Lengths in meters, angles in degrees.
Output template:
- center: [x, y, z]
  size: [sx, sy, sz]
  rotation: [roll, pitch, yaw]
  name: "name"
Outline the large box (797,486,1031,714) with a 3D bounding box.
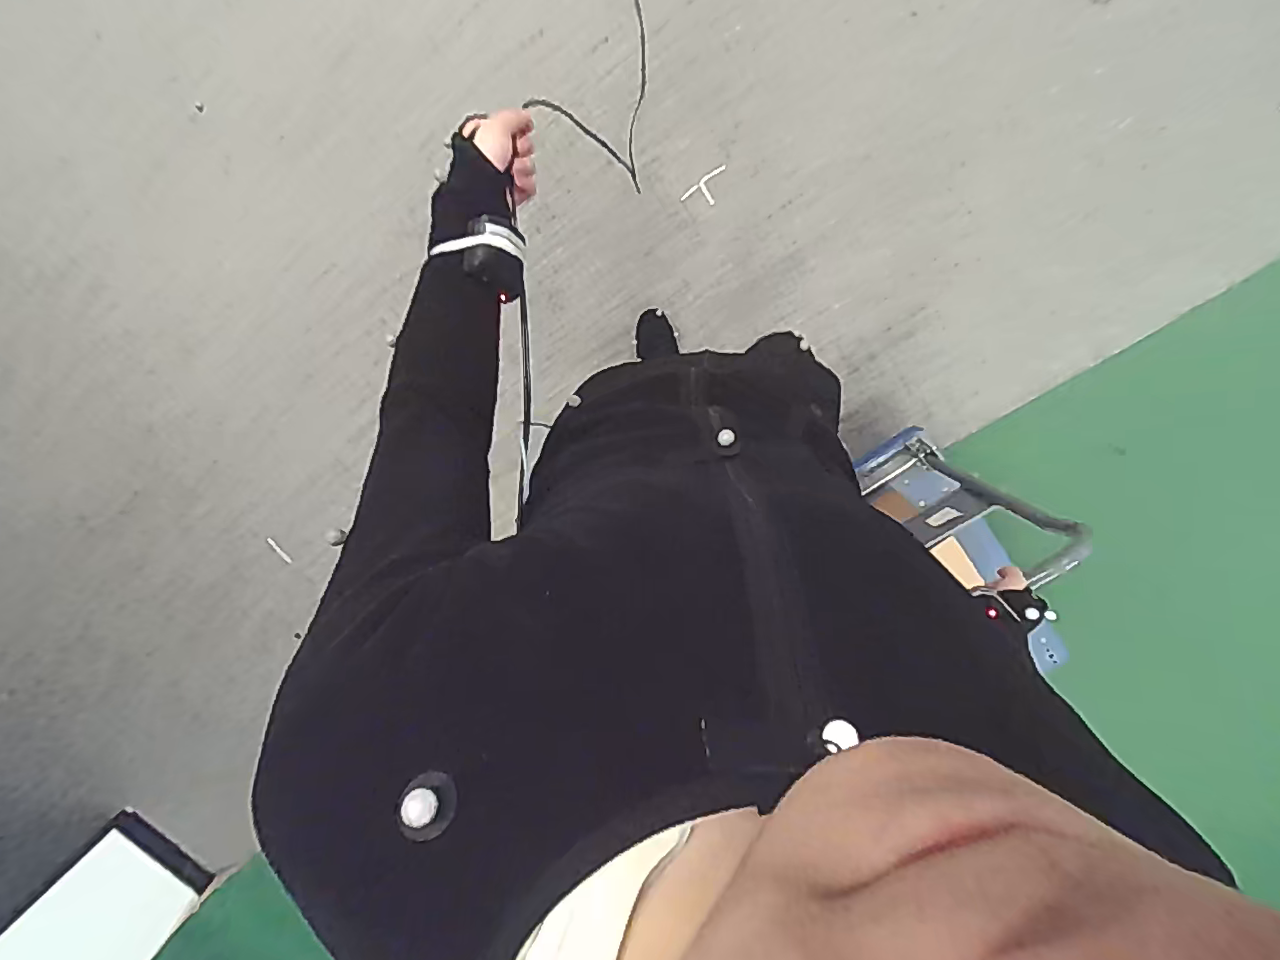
- center: [0.669, 0.291, 1.381]
  size: [0.320, 0.320, 0.408]
  rotation: [-36, 103, 13]
  name: "large box"
